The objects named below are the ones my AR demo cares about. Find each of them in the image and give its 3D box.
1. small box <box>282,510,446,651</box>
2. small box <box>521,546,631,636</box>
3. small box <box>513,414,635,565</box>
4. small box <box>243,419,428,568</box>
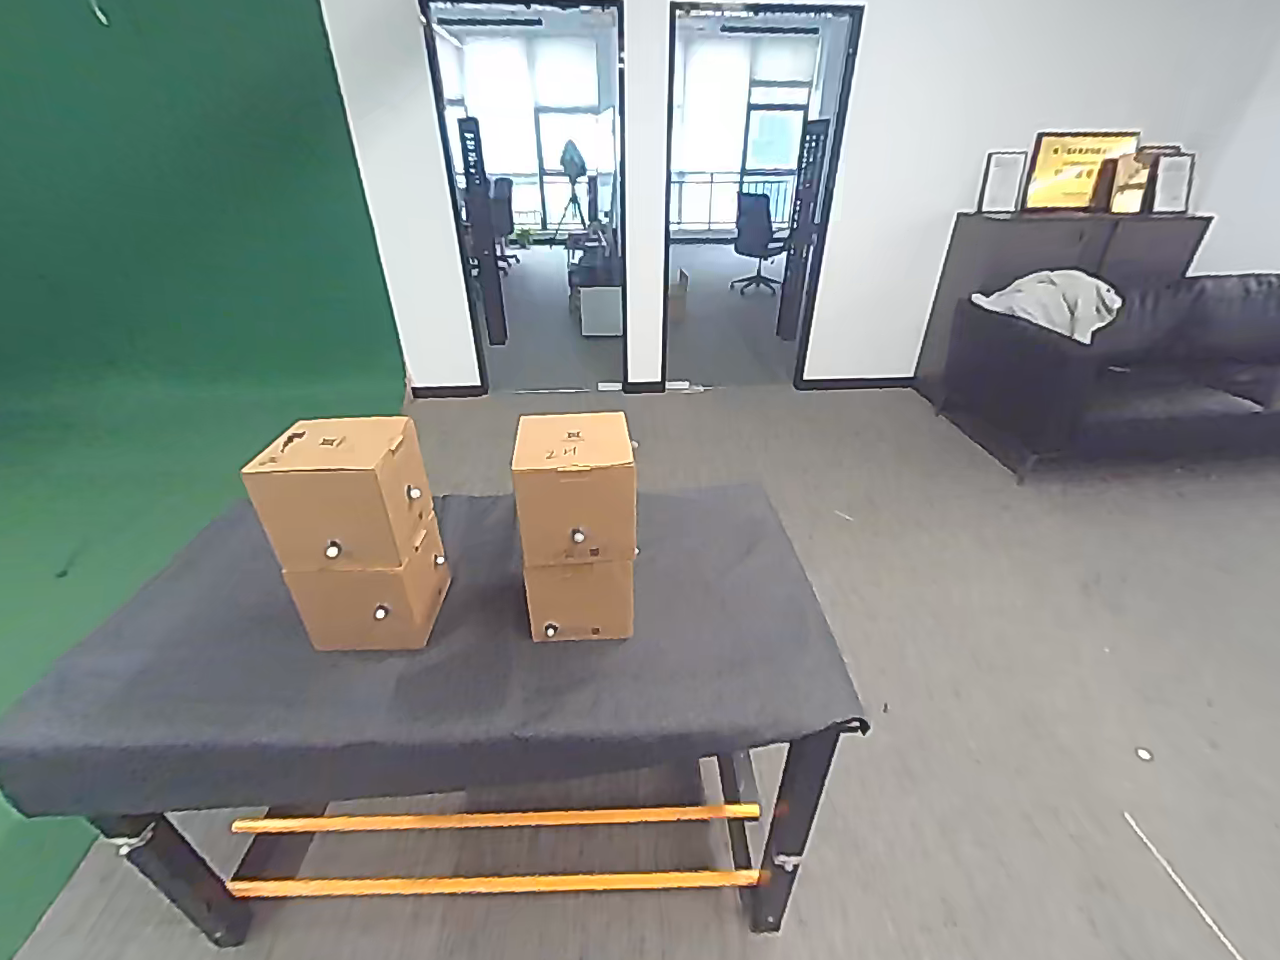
[{"bbox_3d":[-0.437,0.165,0.894,0.179,0.176,0.168,-1,30,-2],"label":"small box"},{"bbox_3d":[-0.101,0.151,0.921,0.168,0.176,0.179,-1,30,-3],"label":"small box"},{"bbox_3d":[-0.098,0.010,0.834,0.168,0.176,0.179,-4,31,-6],"label":"small box"},{"bbox_3d":[-0.438,0.019,0.817,0.179,0.176,0.168,-1,30,-3],"label":"small box"}]
